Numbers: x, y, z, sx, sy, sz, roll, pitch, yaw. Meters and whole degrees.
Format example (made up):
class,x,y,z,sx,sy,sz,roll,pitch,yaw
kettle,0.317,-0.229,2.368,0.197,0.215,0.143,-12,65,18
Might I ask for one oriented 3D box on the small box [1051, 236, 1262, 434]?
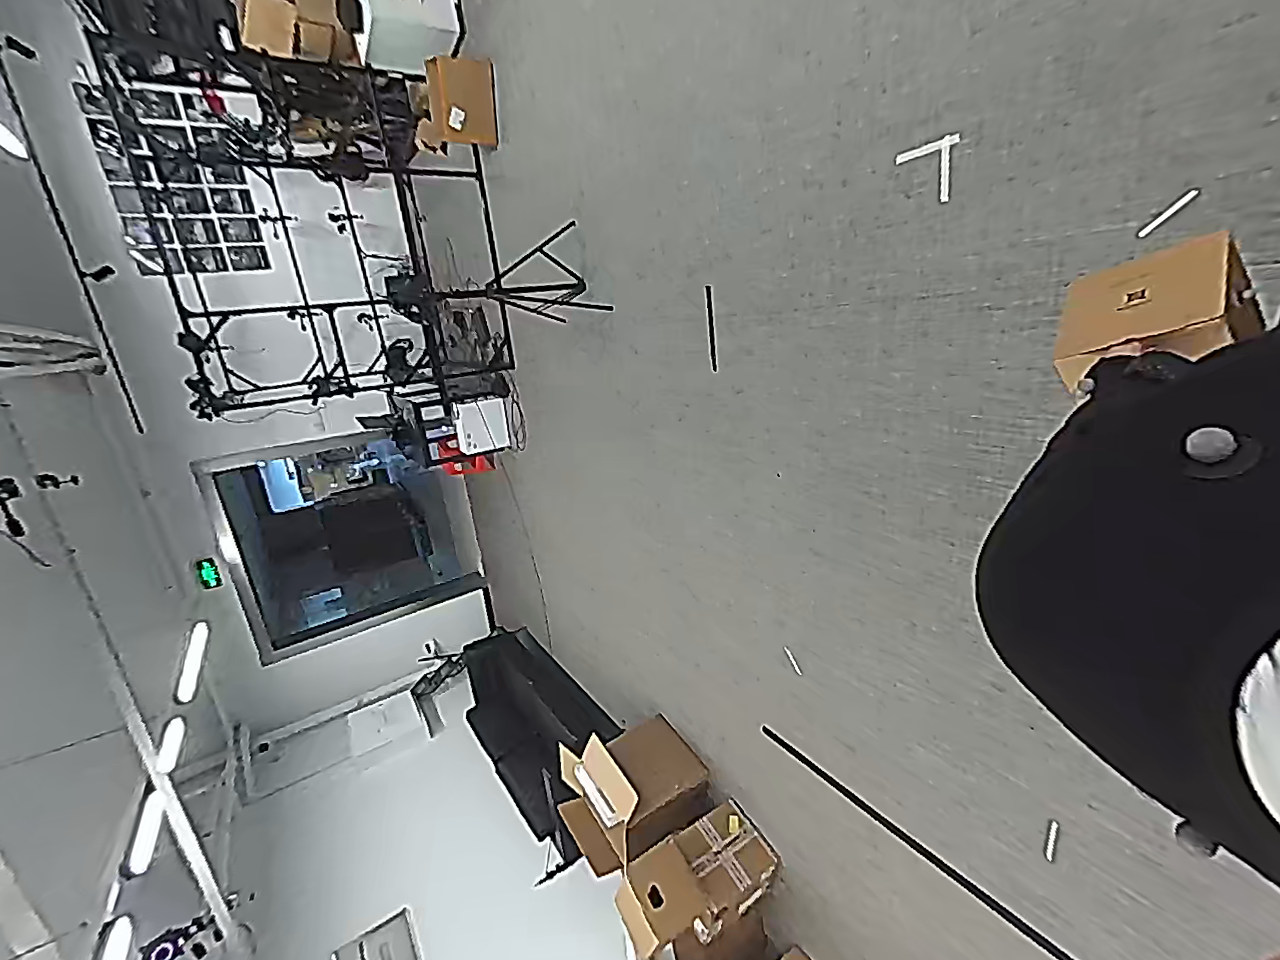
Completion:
class,x,y,z,sx,sy,sz,roll,pitch,yaw
small box,0.700,-0.179,0.733,0.176,0.179,0.168,44,153,-21
